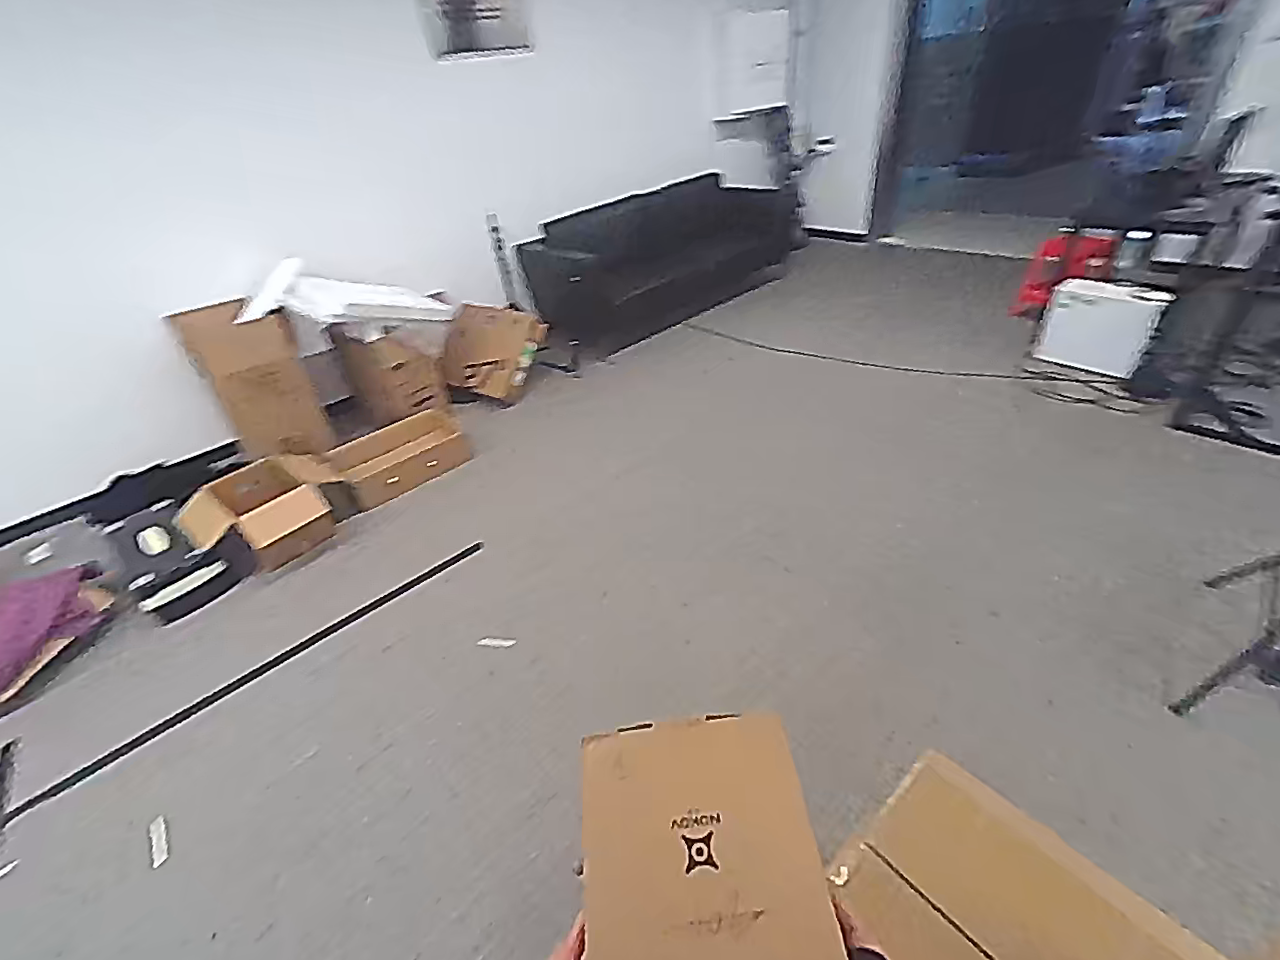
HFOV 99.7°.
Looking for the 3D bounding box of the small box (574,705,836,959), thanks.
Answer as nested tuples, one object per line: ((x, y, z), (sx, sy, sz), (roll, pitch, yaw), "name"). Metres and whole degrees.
((0.038, 0.312, 0.442), (0.168, 0.176, 0.179), (-7, 46, -2), "small box")
